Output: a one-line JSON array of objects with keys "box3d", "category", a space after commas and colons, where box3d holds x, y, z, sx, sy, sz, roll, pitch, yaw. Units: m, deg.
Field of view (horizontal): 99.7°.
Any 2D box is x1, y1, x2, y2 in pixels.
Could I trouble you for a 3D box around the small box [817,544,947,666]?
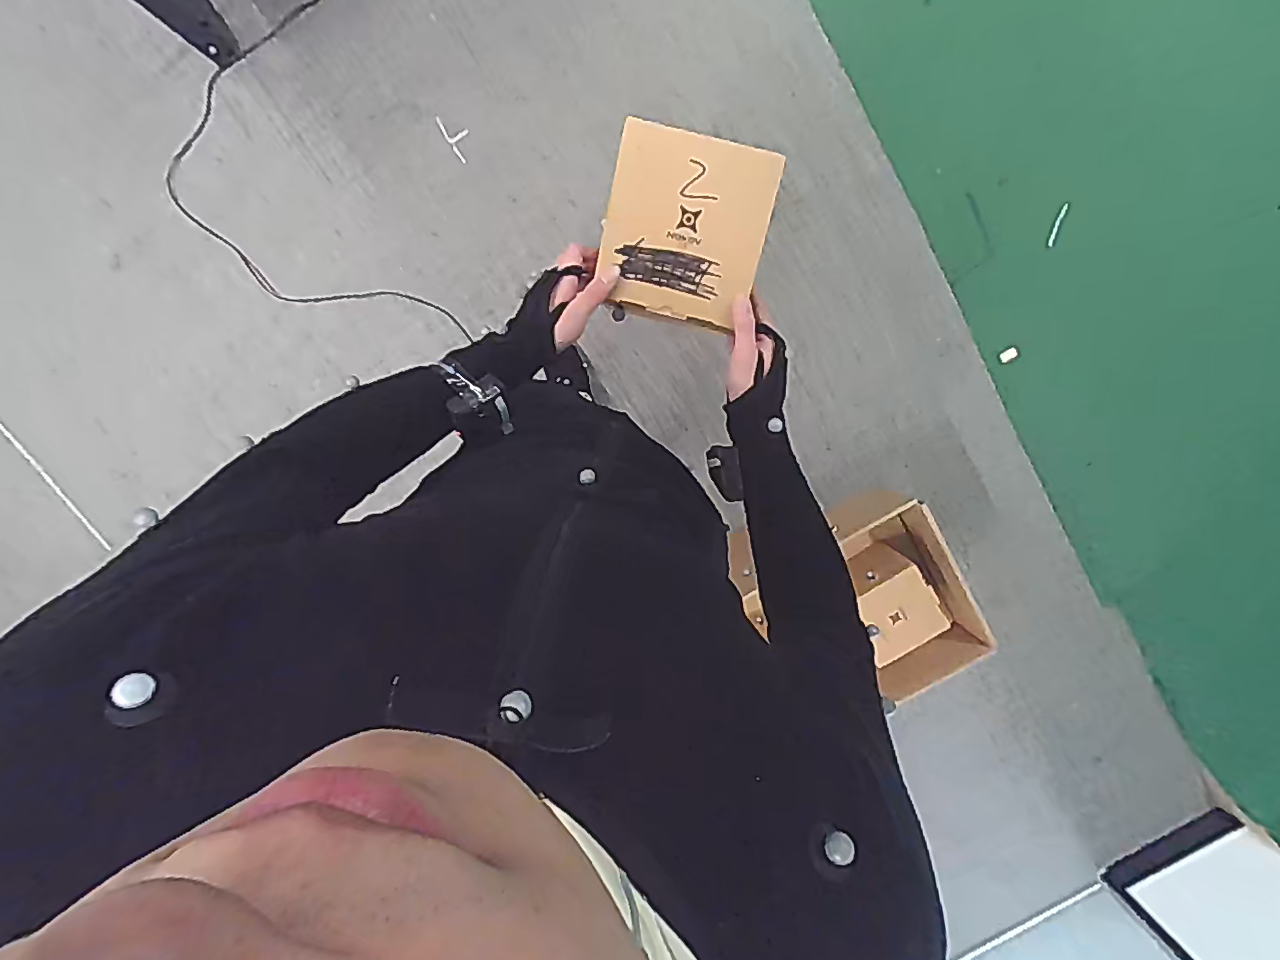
[{"box3d": [0.523, 0.265, 1.192, 0.179, 0.176, 0.168, -31, 100, 5], "category": "small box"}]
